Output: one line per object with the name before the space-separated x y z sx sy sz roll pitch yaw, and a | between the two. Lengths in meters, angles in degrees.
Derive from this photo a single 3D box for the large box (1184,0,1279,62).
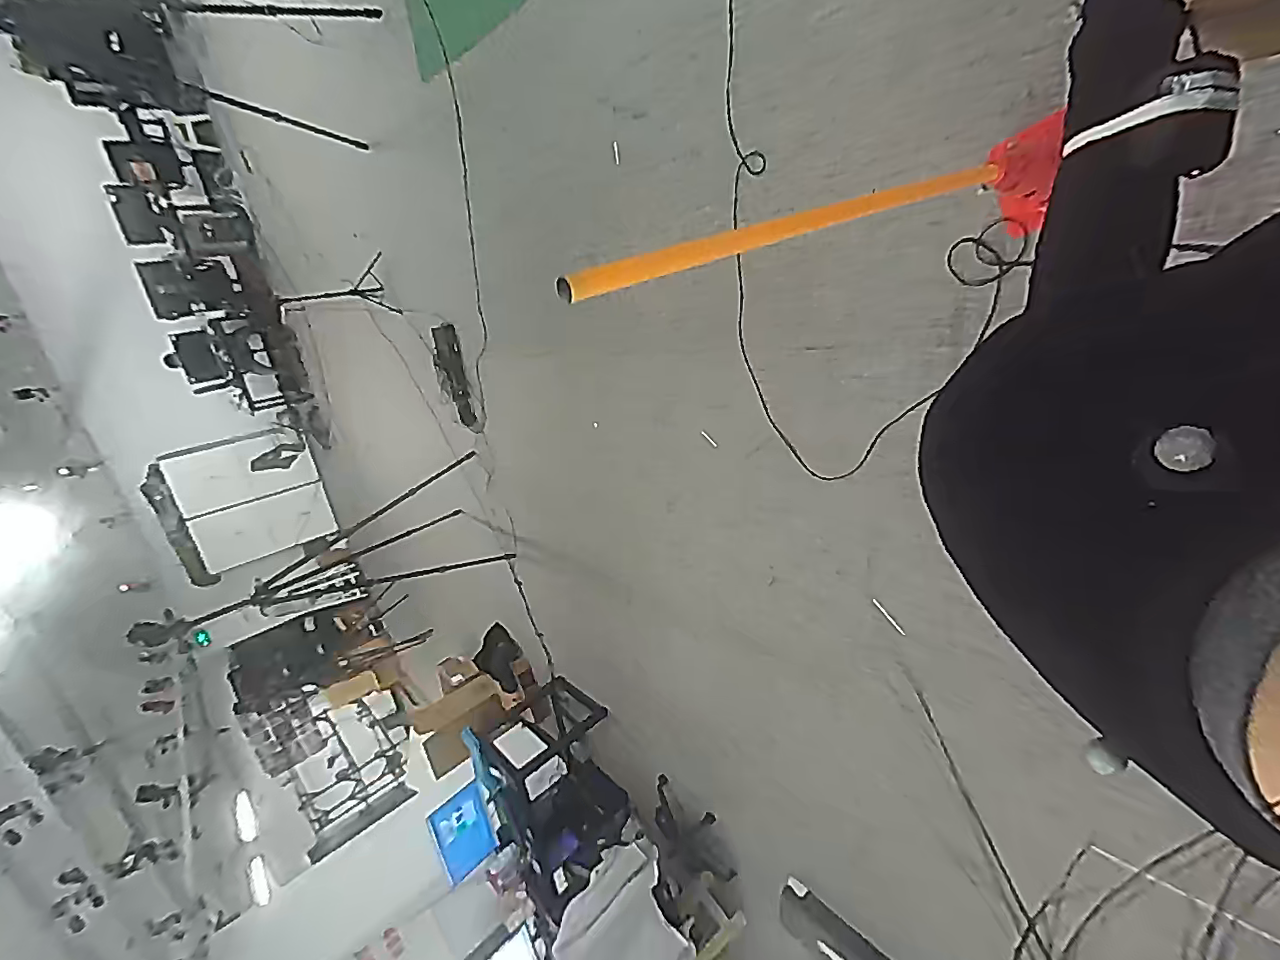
large box | 0.568 -0.465 0.246 0.408 0.320 0.320 13 118 45
